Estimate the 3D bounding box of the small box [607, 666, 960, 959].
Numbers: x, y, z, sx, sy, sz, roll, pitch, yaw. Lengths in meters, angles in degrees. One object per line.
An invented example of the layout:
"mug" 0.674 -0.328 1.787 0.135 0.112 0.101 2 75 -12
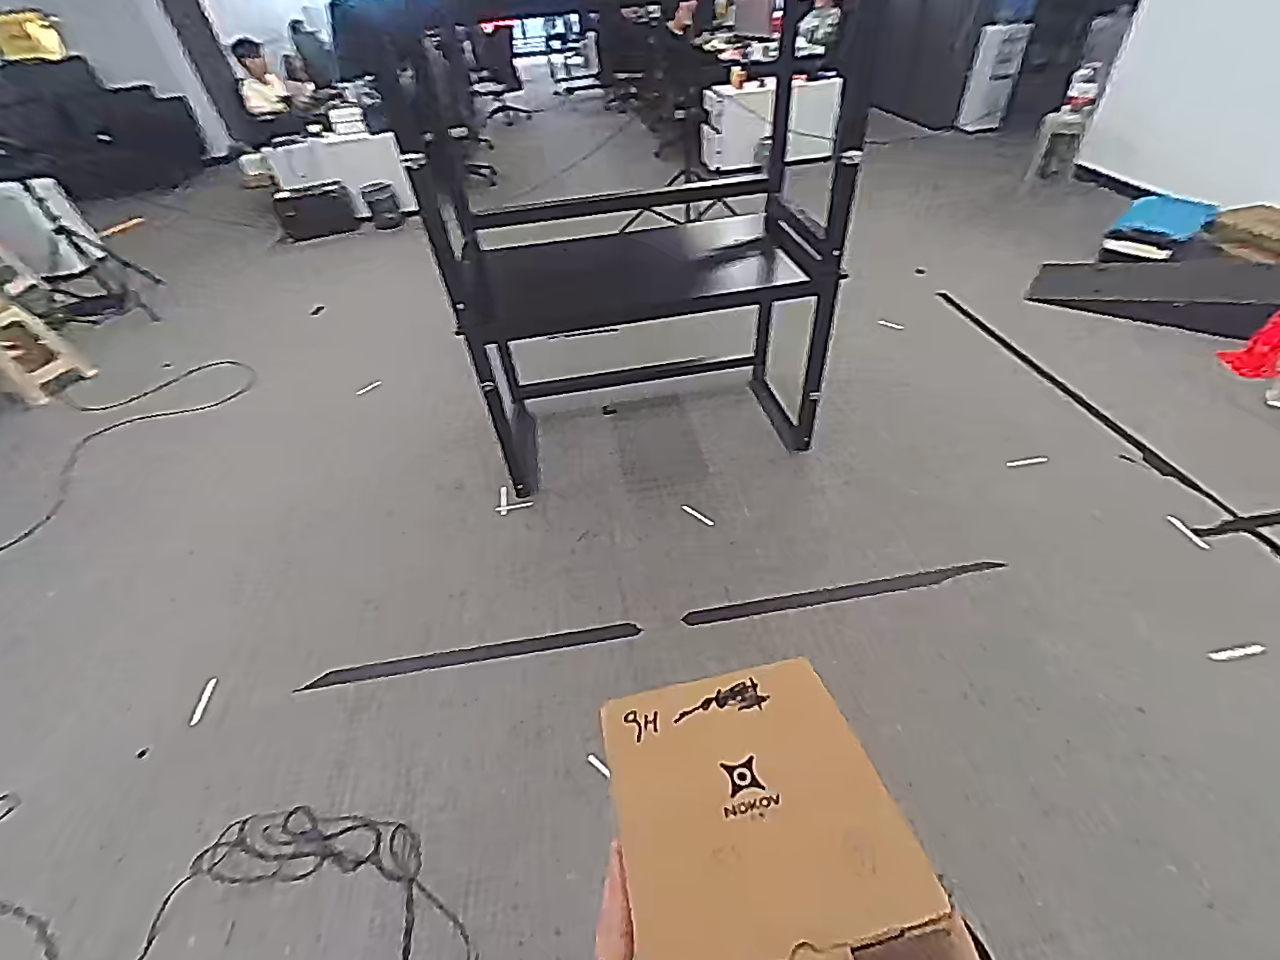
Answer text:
"small box" 0.075 0.266 0.376 0.168 0.176 0.179 -9 32 -7
